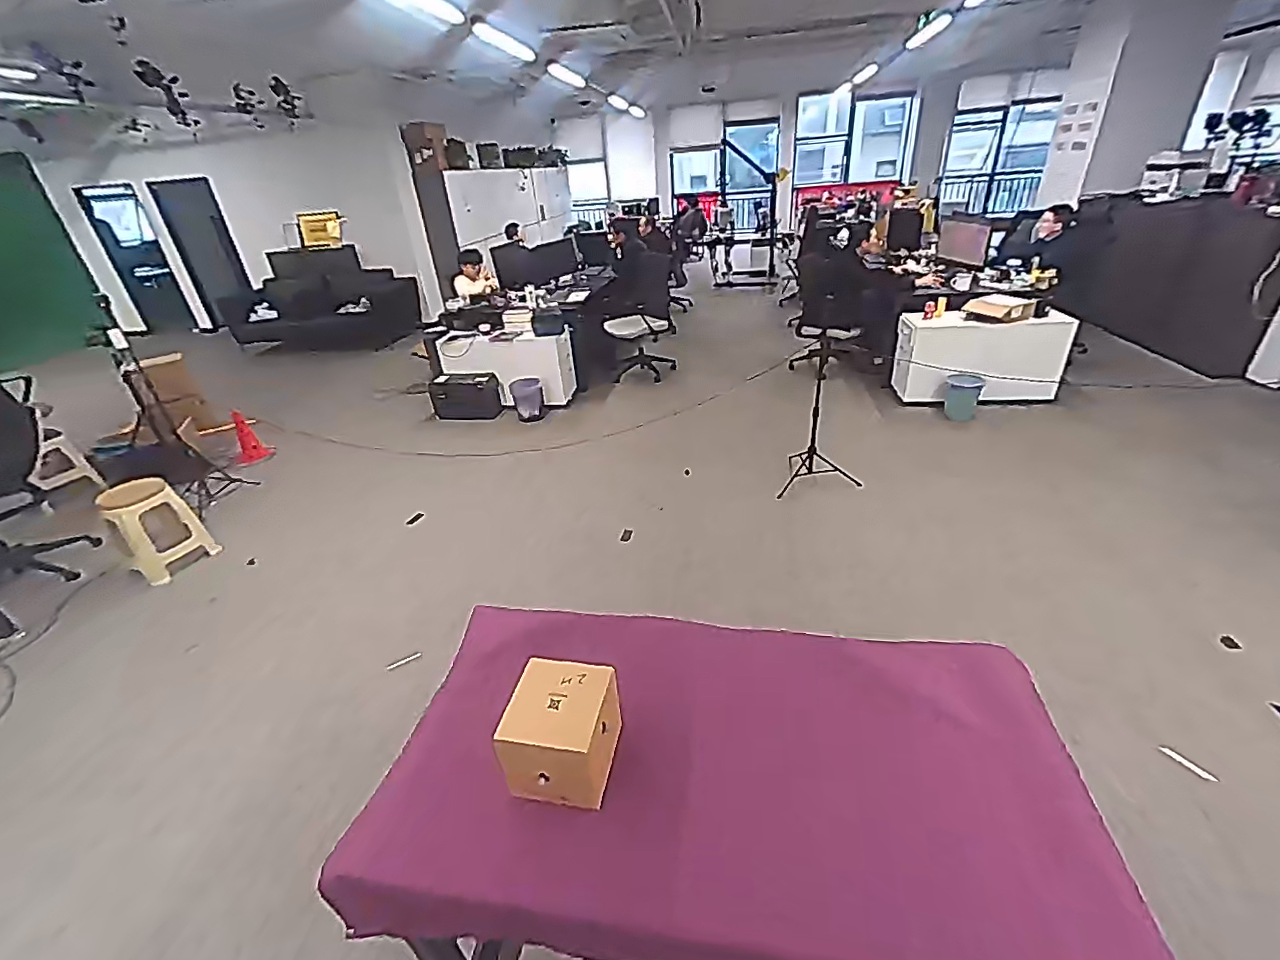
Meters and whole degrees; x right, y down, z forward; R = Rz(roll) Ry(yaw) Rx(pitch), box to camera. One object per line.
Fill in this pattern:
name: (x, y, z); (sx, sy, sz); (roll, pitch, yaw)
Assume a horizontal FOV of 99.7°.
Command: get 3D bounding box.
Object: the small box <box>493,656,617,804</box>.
small box: (-0.142, 0.453, 0.986); (0.168, 0.176, 0.179); (3, 31, 12)
